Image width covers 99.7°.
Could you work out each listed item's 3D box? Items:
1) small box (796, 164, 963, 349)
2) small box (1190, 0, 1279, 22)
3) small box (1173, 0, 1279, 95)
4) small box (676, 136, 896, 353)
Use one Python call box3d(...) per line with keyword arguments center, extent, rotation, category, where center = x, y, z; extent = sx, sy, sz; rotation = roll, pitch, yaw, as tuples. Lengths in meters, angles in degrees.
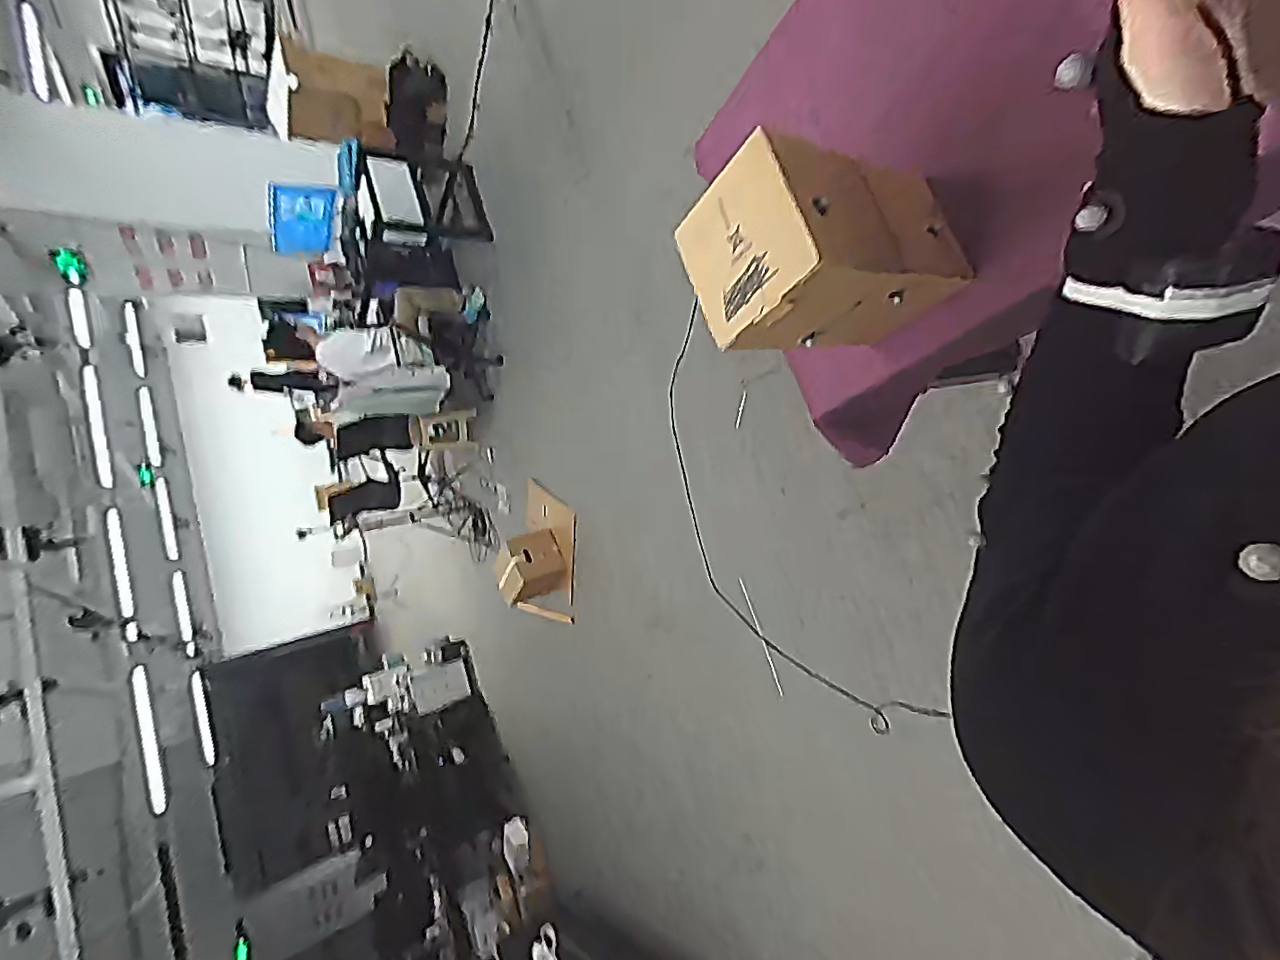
box3d(center=(0.309, -0.299, 0.765), extent=(0.179, 0.176, 0.168), rotation=(-34, 71, 51), category="small box")
box3d(center=(0.401, -0.426, 0.321), extent=(0.168, 0.176, 0.179), rotation=(-35, 70, 51), category="small box")
box3d(center=(0.533, -0.446, 0.415), extent=(0.179, 0.176, 0.168), rotation=(-32, 74, 53), category="small box")
box3d(center=(0.178, -0.275, 0.669), extent=(0.168, 0.176, 0.179), rotation=(-34, 70, 51), category="small box")
